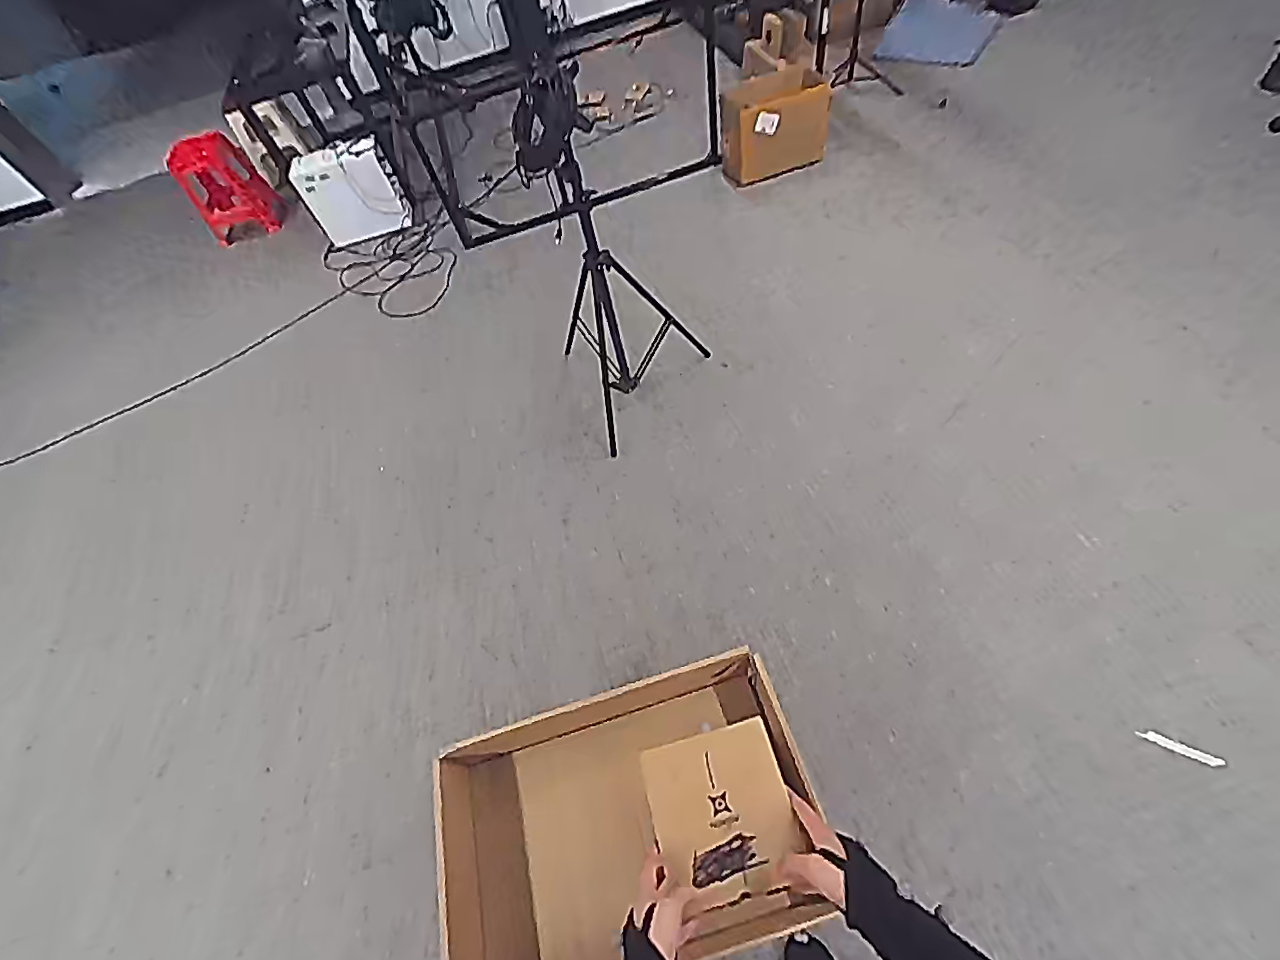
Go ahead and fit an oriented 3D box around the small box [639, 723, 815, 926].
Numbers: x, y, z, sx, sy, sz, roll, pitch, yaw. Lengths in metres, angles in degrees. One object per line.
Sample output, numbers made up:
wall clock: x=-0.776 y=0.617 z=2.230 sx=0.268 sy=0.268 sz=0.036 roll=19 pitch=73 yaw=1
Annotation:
small box: x=0.110 y=0.431 z=0.704 sx=0.168 sy=0.176 sz=0.179 roll=-17 pitch=62 yaw=1
